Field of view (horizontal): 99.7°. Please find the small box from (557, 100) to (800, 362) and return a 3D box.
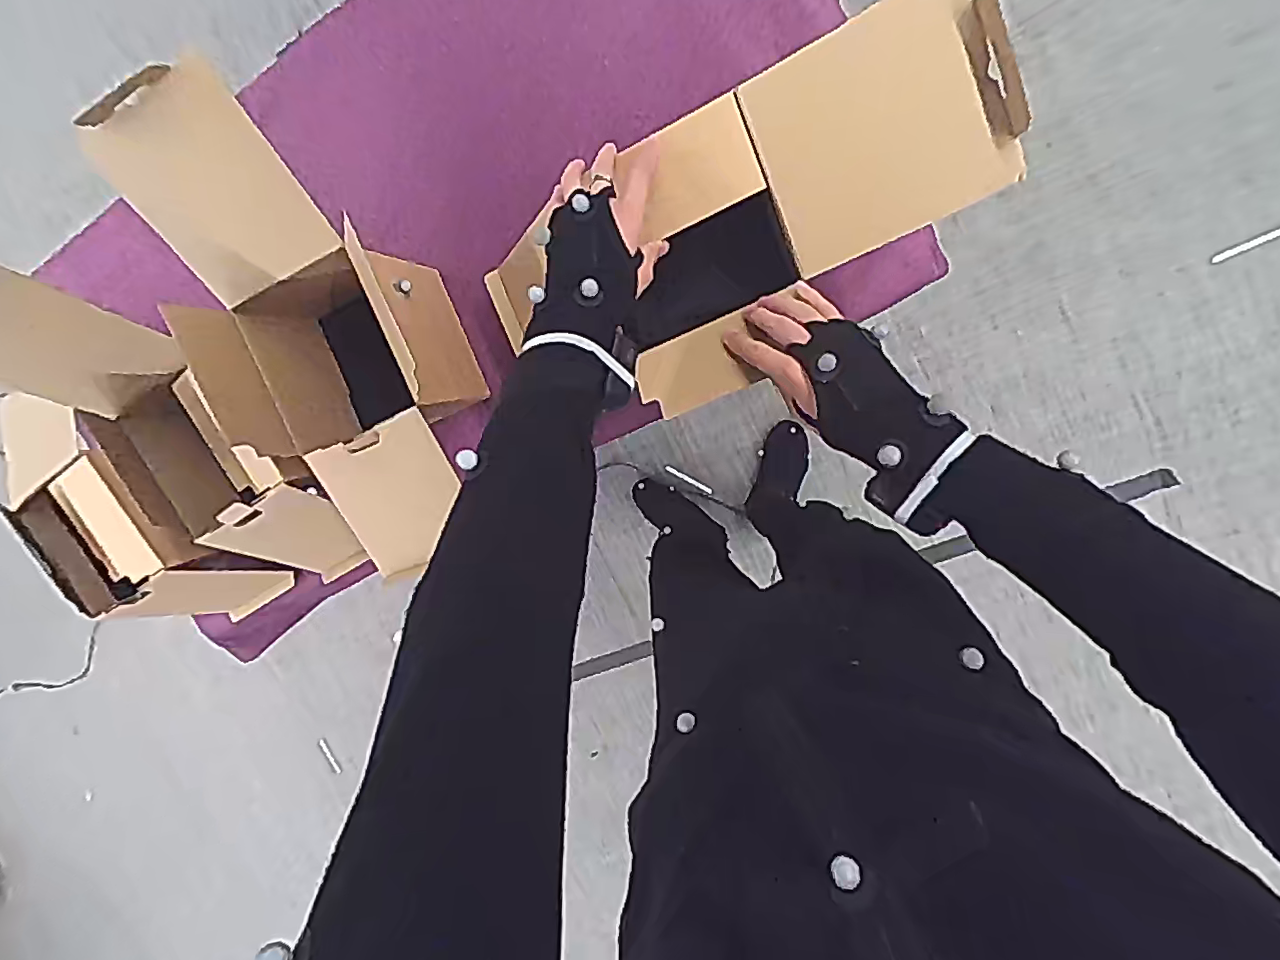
[{"bbox_3d":[0.045,-0.230,0.552,0.179,0.176,0.168,-20,97,15],"label":"small box"}]
